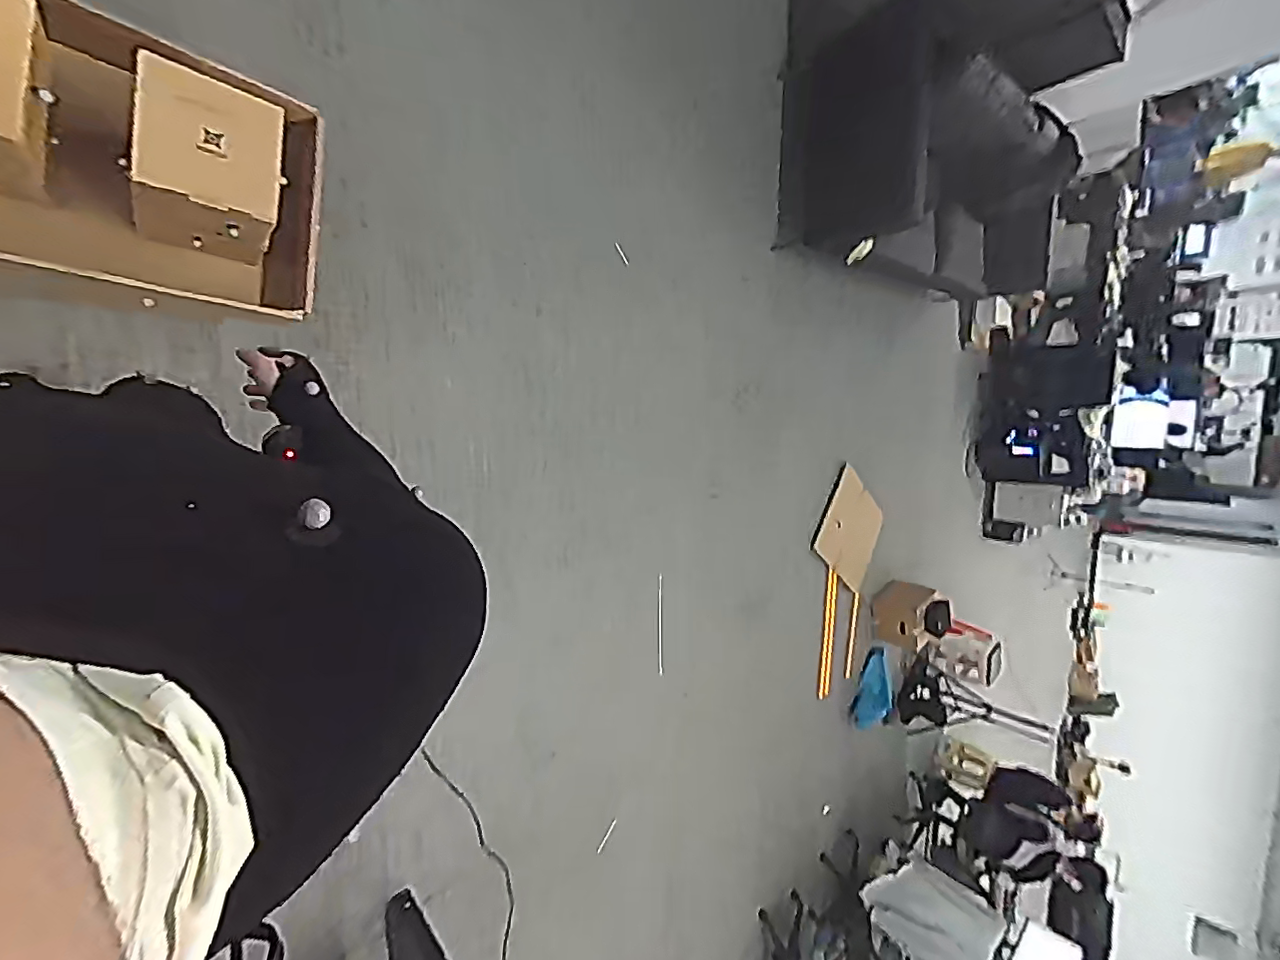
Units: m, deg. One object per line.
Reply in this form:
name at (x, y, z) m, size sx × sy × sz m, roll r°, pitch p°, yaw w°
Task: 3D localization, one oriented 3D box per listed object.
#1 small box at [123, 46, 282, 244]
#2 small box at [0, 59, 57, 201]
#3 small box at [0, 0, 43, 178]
small box at (-0.659, -0.482, 0.817) m, size 0.168 × 0.176 × 0.179 m, roll 4°, pitch 91°, yaw -43°
small box at (-0.963, -0.523, 0.759) m, size 0.179 × 0.176 × 0.168 m, roll 5°, pitch 91°, yaw -43°
small box at (-0.847, -0.503, 0.644) m, size 0.168 × 0.176 × 0.179 m, roll 6°, pitch 91°, yaw -44°
